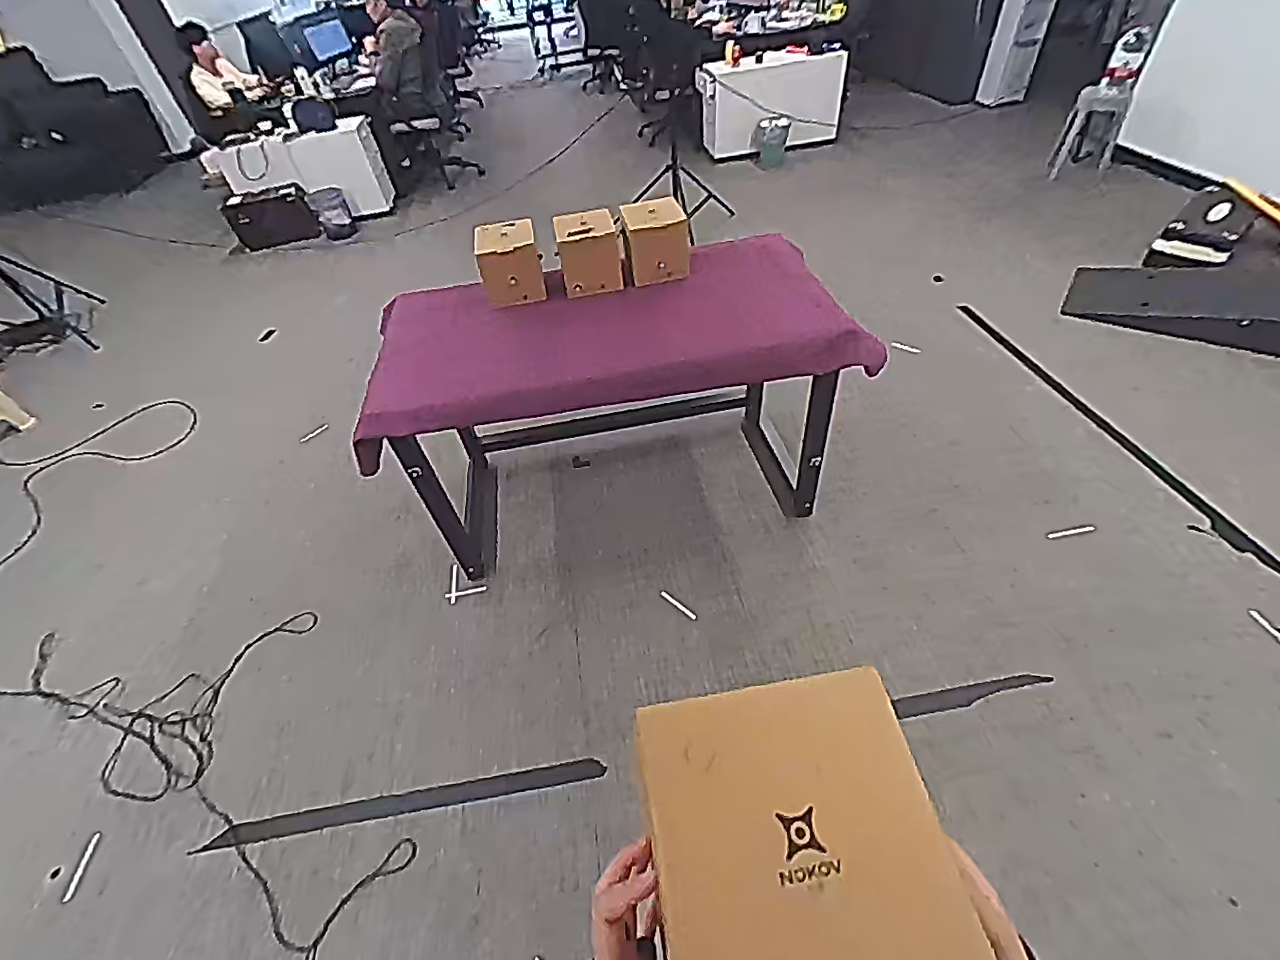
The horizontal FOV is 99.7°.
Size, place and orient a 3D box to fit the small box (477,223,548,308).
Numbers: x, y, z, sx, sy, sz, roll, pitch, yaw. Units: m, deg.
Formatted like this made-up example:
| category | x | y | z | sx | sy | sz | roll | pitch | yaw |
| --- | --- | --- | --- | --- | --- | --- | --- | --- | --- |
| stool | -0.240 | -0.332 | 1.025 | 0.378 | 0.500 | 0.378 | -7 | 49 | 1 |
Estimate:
| category | x | y | z | sx | sy | sz | roll | pitch | yaw |
| --- | --- | --- | --- | --- | --- | --- | --- | --- | --- |
| small box | -0.367 | -0.615 | 1.569 | 0.168 | 0.176 | 0.179 | -11 | 49 | -4 |

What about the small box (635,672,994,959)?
| category | x | y | z | sx | sy | sz | roll | pitch | yaw |
| --- | --- | --- | --- | --- | --- | --- | --- | --- | --- |
| small box | 0.090 | 0.255 | 0.372 | 0.168 | 0.176 | 0.179 | -8 | 56 | -7 |
